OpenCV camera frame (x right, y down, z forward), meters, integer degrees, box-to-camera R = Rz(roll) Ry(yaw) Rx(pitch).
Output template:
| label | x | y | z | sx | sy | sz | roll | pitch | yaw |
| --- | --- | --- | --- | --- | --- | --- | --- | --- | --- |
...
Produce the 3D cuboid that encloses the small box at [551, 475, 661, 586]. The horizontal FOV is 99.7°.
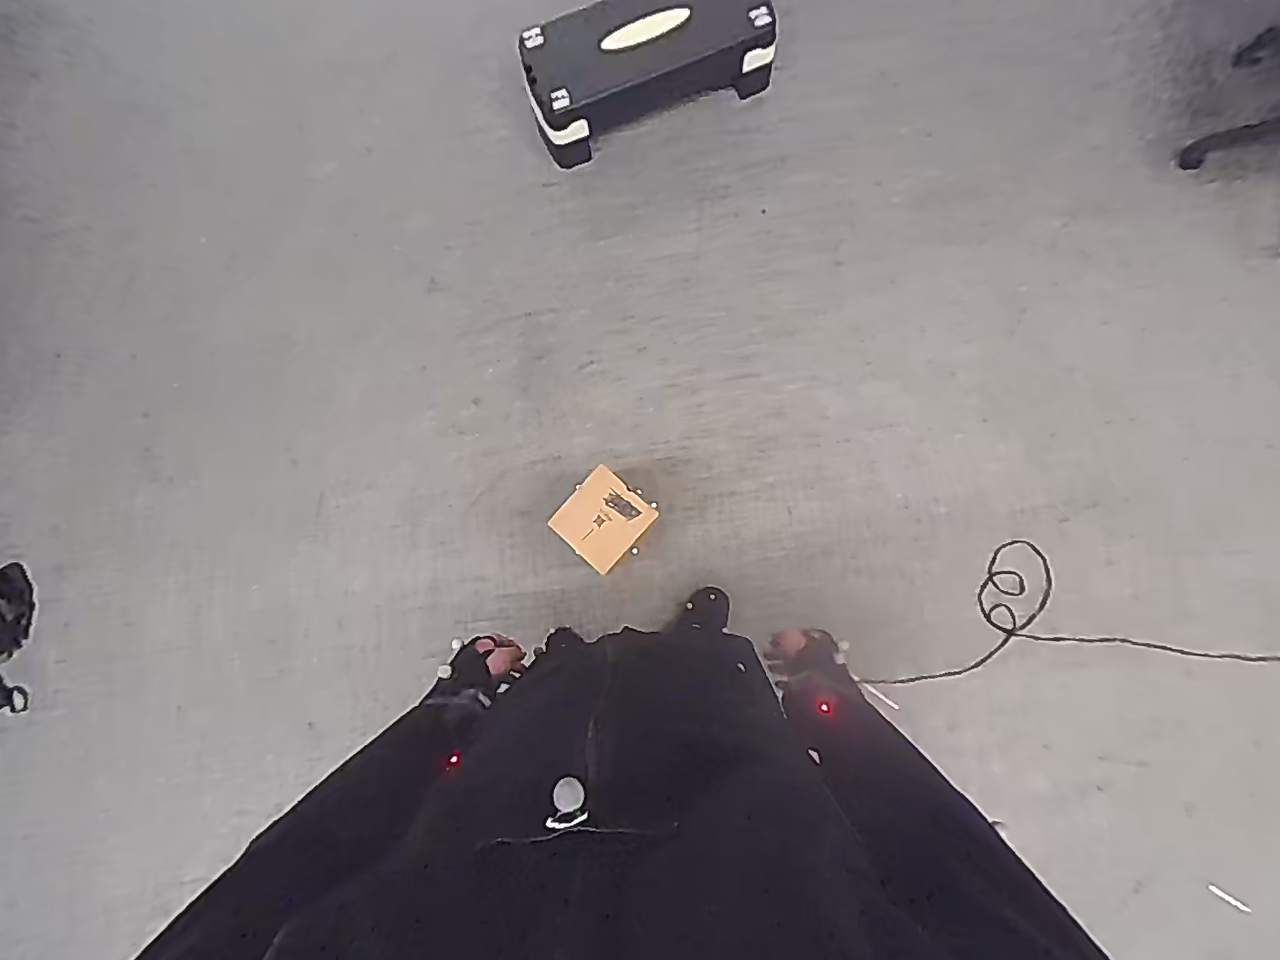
| label | x | y | z | sx | sy | sz | roll | pitch | yaw |
| --- | --- | --- | --- | --- | --- | --- | --- | --- | --- |
| small box | -0.069 | 0.114 | 1.208 | 0.168 | 0.176 | 0.179 | 42 | 87 | 8 |
